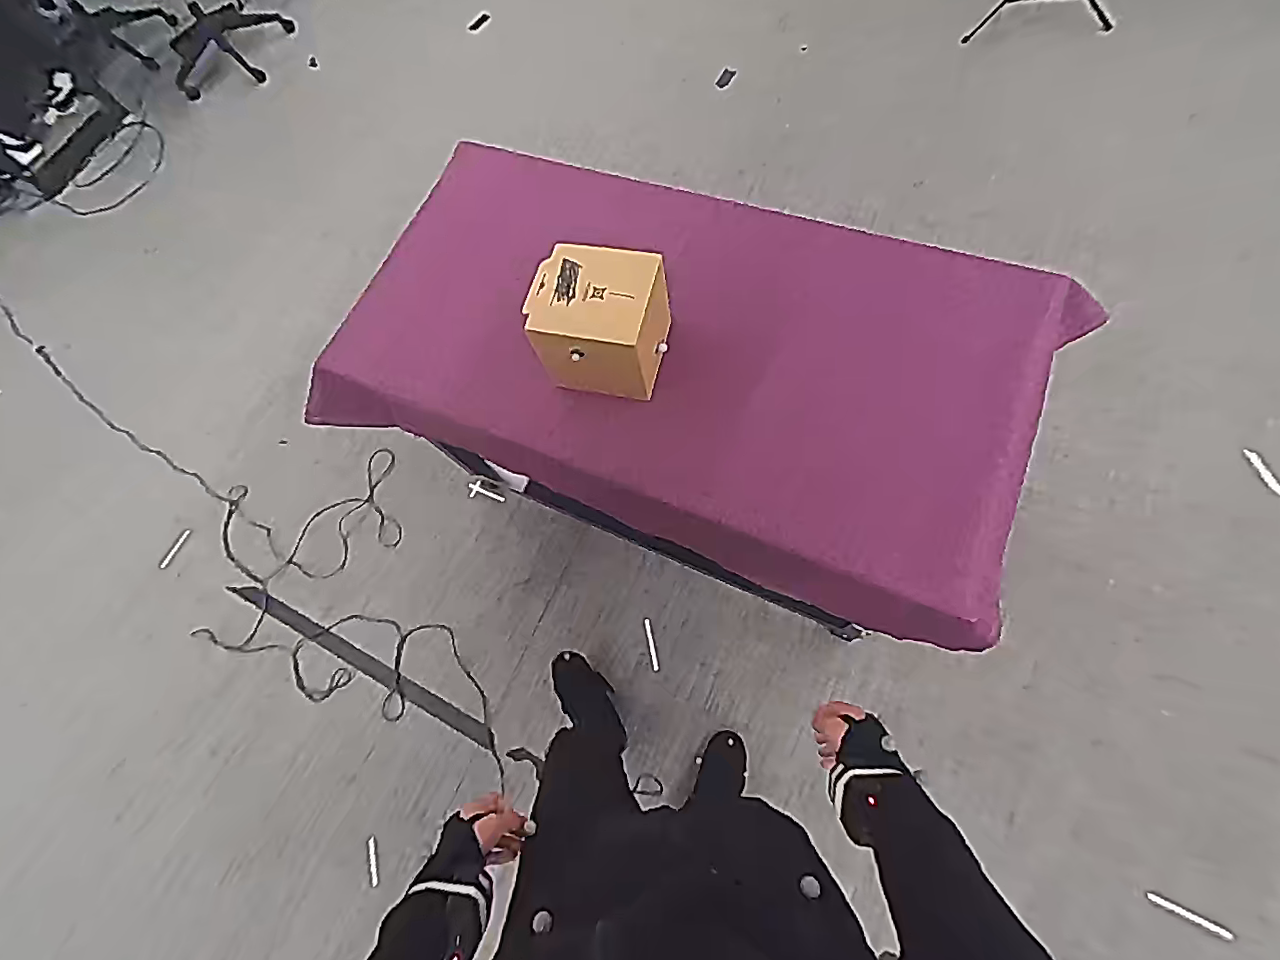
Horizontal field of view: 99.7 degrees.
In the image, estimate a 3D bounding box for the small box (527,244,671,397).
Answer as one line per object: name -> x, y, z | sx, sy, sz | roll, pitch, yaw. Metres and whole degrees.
small box -> -0.055, -0.253, 0.883 | 0.179, 0.176, 0.168 | 12, 72, 12
